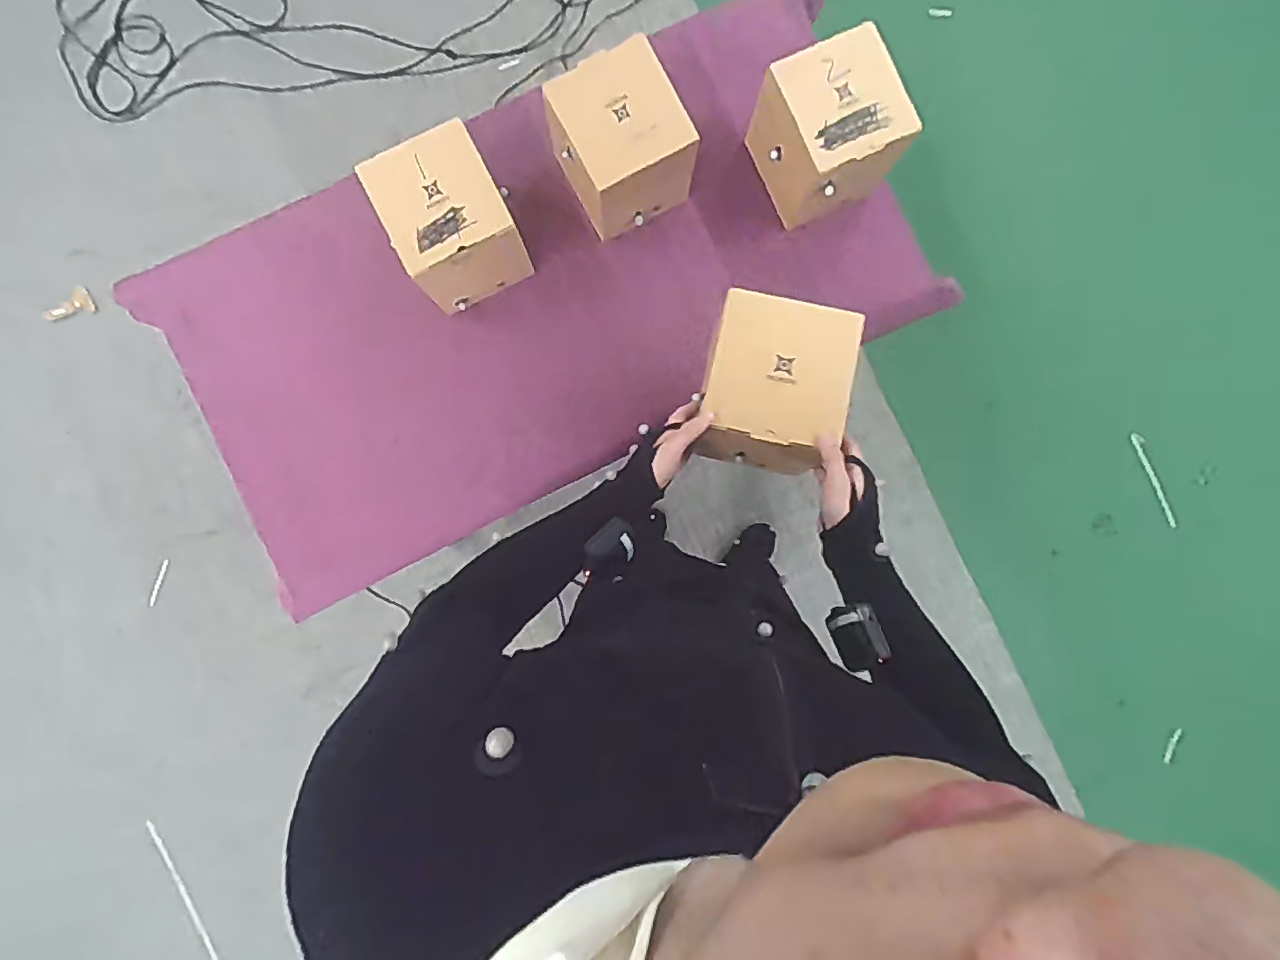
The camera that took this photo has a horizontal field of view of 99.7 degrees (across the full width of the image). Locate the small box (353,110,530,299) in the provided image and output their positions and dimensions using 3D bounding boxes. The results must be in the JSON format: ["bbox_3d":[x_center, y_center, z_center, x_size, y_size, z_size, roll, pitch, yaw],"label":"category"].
[{"bbox_3d":[-0.286,-0.398,0.822,0.168,0.176,0.179,-27,89,-2],"label":"small box"}]

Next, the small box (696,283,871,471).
[{"bbox_3d":[0.175,-0.123,0.708,0.168,0.176,0.179,14,83,2],"label":"small box"}]

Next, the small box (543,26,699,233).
[{"bbox_3d":[-0.030,-0.523,0.834,0.168,0.176,0.179,-28,91,-1],"label":"small box"}]
